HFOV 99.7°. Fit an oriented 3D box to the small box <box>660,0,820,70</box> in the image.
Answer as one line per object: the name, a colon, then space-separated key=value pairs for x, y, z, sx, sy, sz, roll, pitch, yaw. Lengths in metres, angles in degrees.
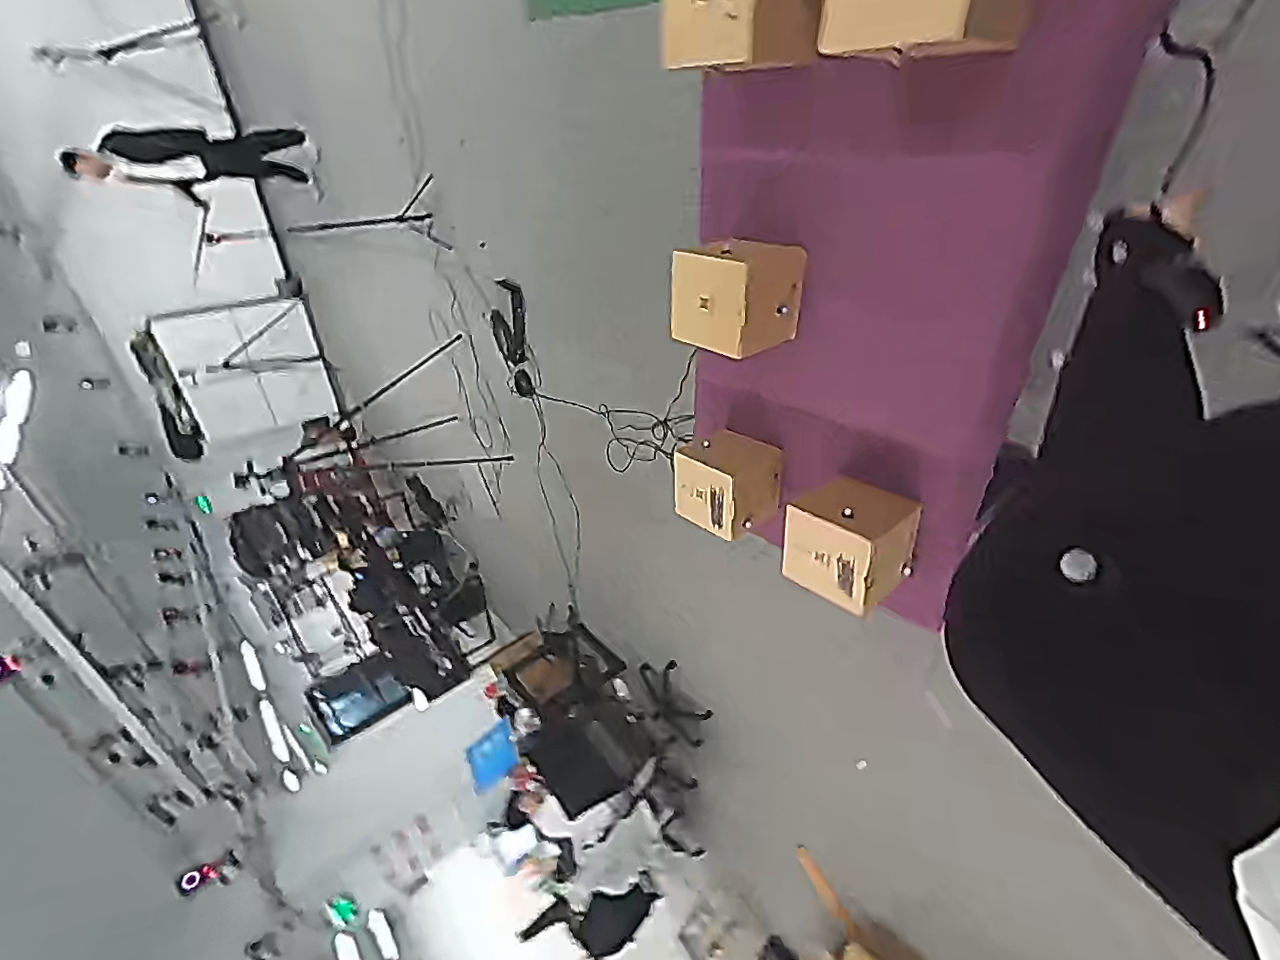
small box: x=0.148 y=-0.716 z=0.801 sx=0.179 sy=0.176 sz=0.168 roll=30 pitch=137 yaw=38

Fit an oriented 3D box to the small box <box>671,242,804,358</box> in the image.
small box: x=0.179 y=-0.347 z=1.019 sx=0.179 sy=0.176 sz=0.168 roll=29 pitch=133 yaw=39

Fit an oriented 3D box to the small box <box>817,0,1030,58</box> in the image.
small box: x=0.338 y=-0.599 z=0.624 sx=0.179 sy=0.176 sz=0.168 roll=33 pitch=137 yaw=40

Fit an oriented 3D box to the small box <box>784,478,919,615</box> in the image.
small box: x=0.399 y=0.115 z=1.026 sx=0.179 sy=0.176 sz=0.168 roll=27 pitch=132 yaw=44
